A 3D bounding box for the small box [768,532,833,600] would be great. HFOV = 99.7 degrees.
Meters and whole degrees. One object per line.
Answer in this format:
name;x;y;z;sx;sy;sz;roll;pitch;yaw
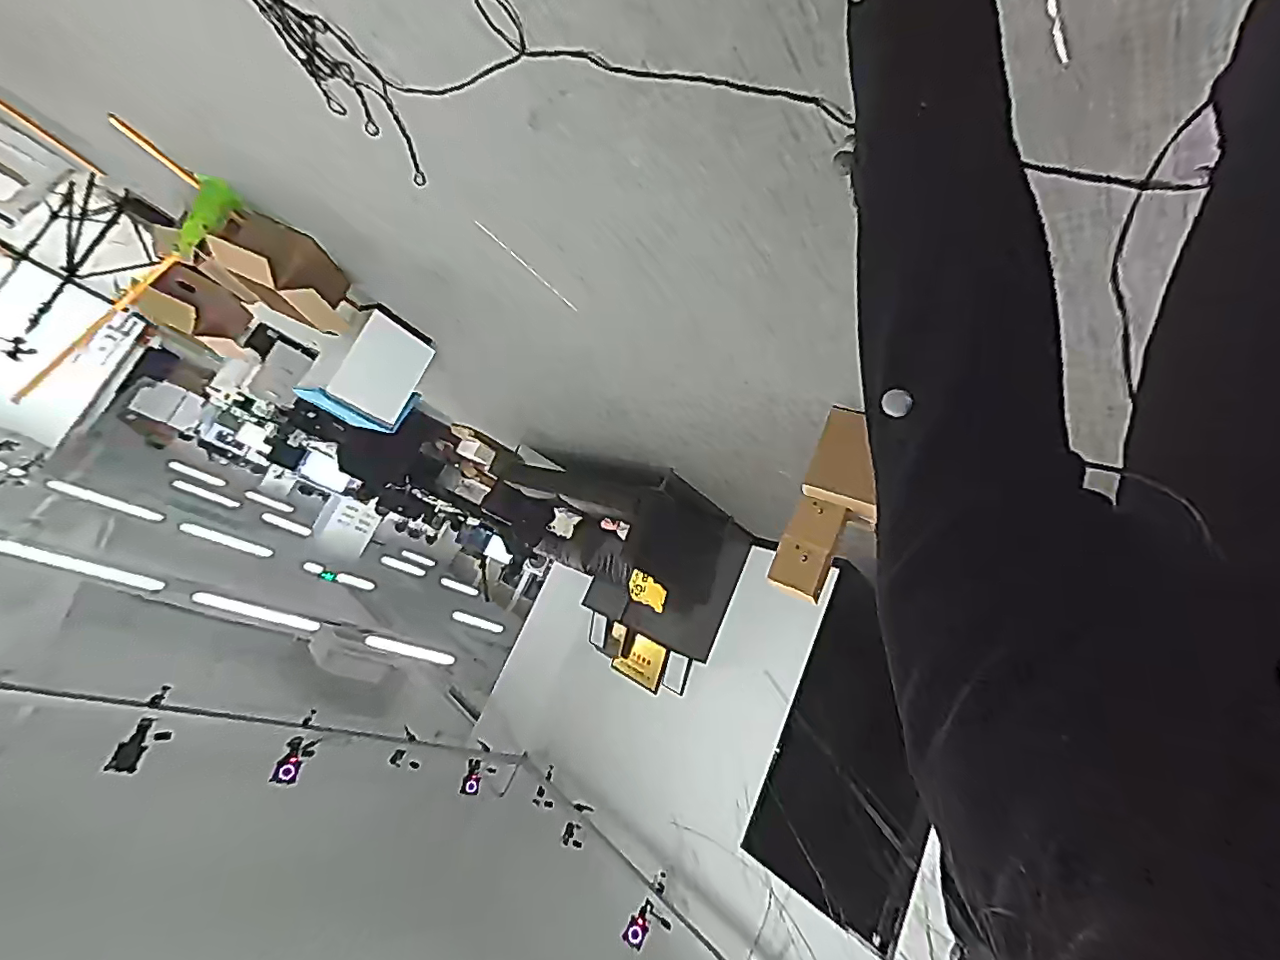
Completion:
small box;0.572;0.302;1.908;0.168;0.176;0.179;18;167;29
